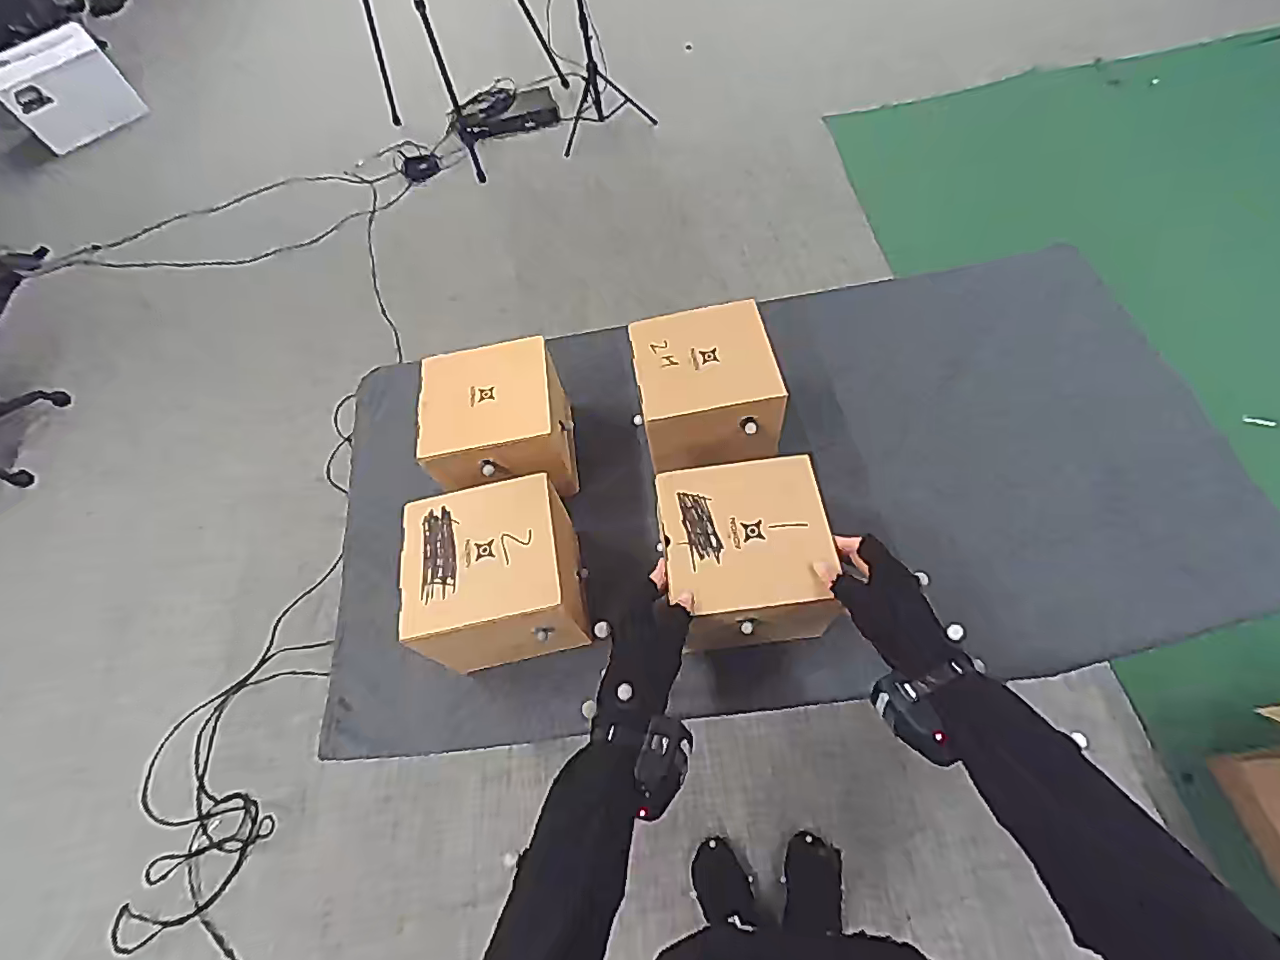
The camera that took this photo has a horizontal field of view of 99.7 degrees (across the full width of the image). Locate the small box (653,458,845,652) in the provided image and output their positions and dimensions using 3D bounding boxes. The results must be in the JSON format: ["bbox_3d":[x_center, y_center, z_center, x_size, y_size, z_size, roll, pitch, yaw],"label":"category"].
[{"bbox_3d":[0.118,0.096,0.635,0.179,0.176,0.168,-8,61,4],"label":"small box"}]

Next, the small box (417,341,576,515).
[{"bbox_3d":[-0.194,-0.067,0.774,0.179,0.176,0.168,-12,61,3],"label":"small box"}]
